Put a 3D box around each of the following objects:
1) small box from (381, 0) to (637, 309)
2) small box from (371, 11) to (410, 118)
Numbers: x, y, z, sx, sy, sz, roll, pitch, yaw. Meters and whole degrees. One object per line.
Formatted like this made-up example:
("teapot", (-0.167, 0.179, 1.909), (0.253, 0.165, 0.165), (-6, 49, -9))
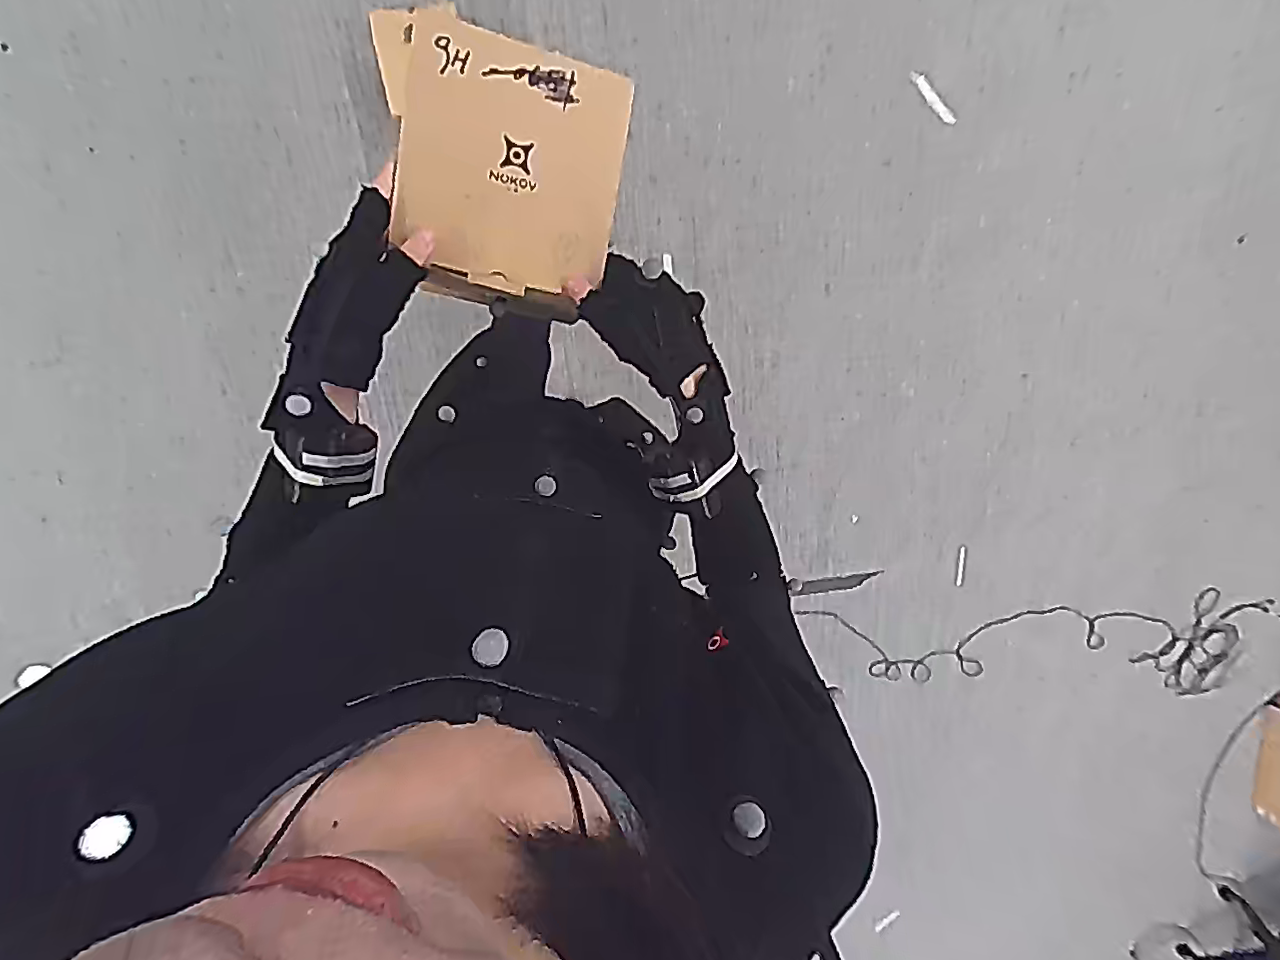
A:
("small box", (-0.114, -0.261, 0.481), (0.168, 0.176, 0.179), (10, 99, -16))
("small box", (-0.431, -0.833, 1.128), (0.168, 0.176, 0.179), (-9, 109, -5))
